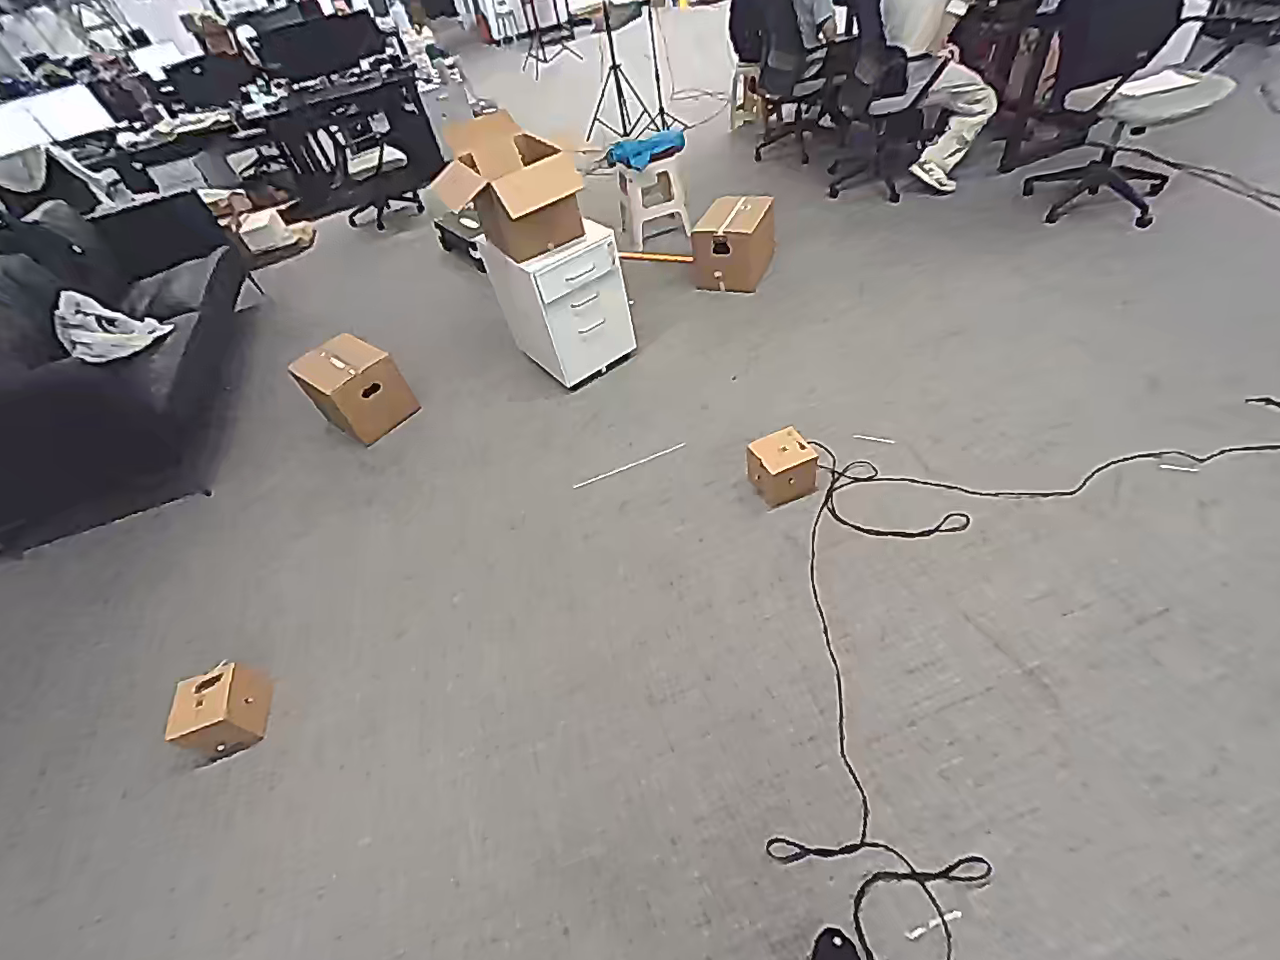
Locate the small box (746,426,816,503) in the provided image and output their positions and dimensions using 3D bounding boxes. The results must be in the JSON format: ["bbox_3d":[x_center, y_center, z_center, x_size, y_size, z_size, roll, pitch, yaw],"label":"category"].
[{"bbox_3d":[0.485,-0.049,1.856,0.179,0.176,0.168,-23,48,-7],"label":"small box"}]

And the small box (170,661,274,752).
[{"bbox_3d":[-1.228,0.675,1.607,0.168,0.176,0.179,-20,48,-5],"label":"small box"}]
